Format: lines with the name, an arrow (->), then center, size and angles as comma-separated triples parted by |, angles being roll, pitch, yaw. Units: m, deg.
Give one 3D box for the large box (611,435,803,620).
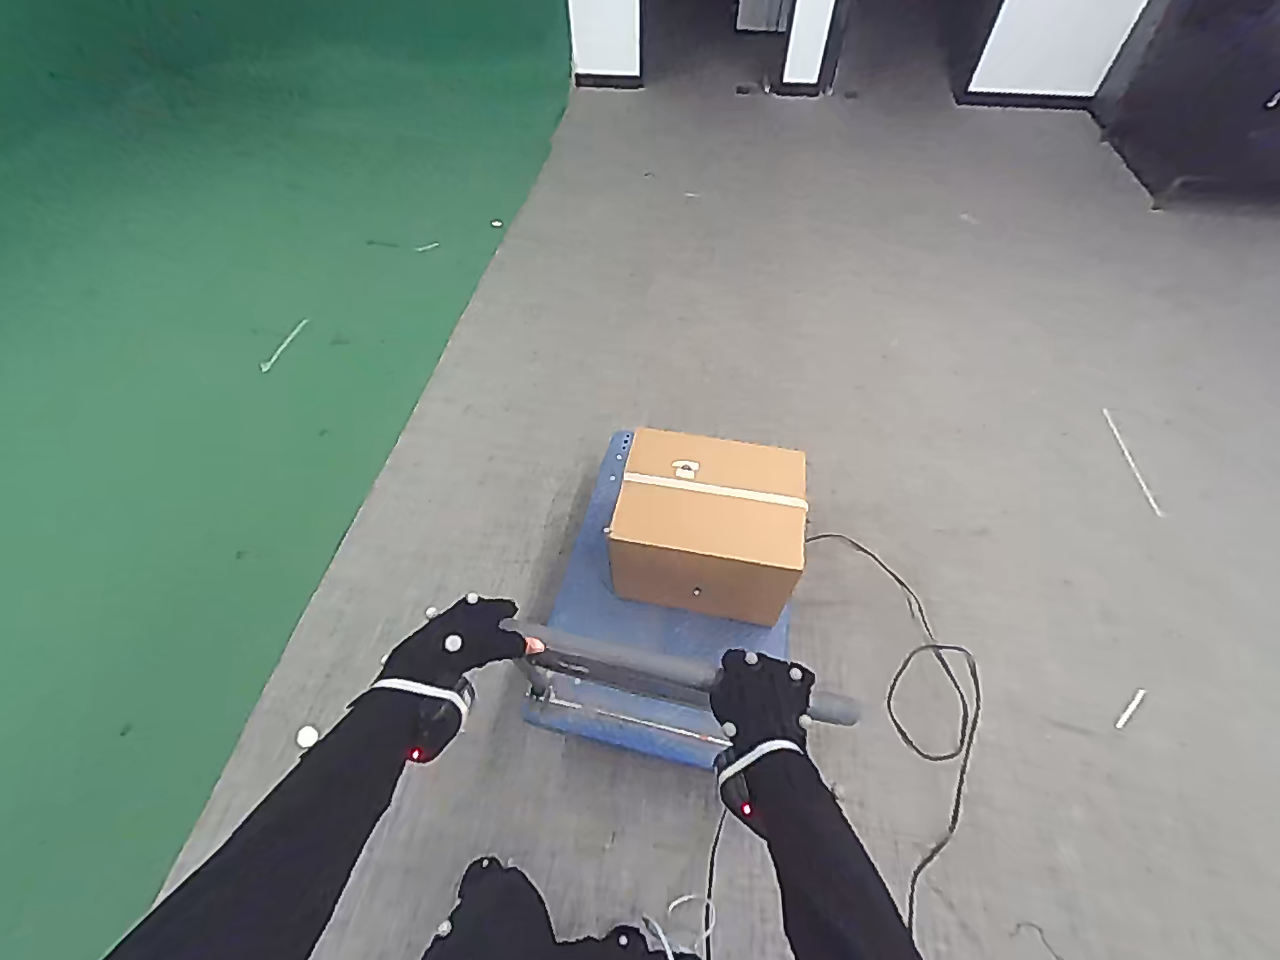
large box -> 0.165, 0.121, 1.322 | 0.408, 0.320, 0.320 | 7, 54, 7
